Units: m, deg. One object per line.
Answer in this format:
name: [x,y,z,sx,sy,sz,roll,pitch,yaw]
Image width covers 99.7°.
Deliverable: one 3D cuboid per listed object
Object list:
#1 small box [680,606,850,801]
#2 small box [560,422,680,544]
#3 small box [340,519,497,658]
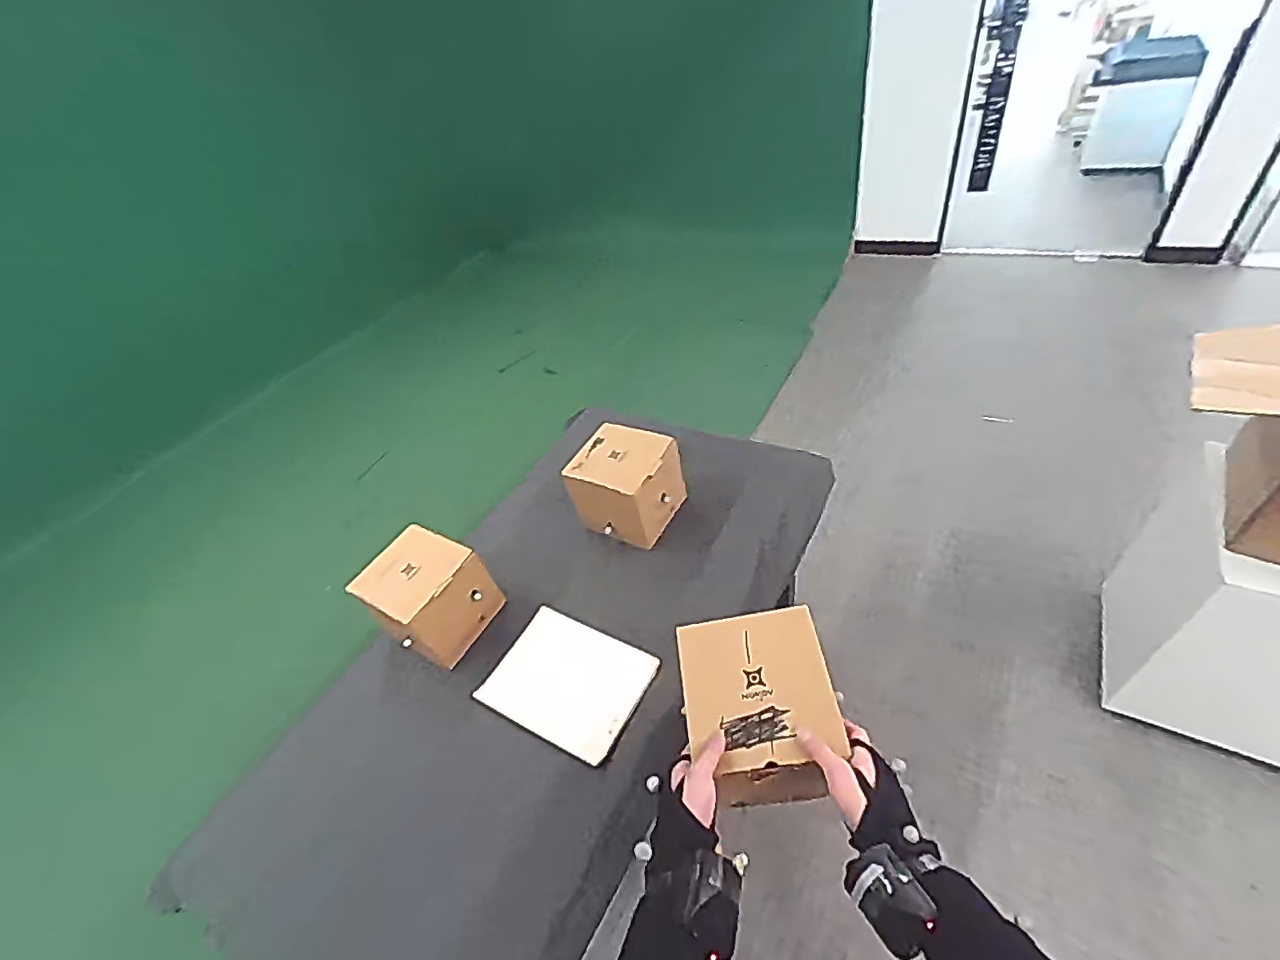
small box: [0.152,0.284,0.671,0.168,0.176,0.179,-12,47,8]
small box: [-0.032,0.010,1.124,0.179,0.176,0.168,18,52,28]
small box: [-0.400,0.204,1.006,0.179,0.176,0.168,15,50,28]
